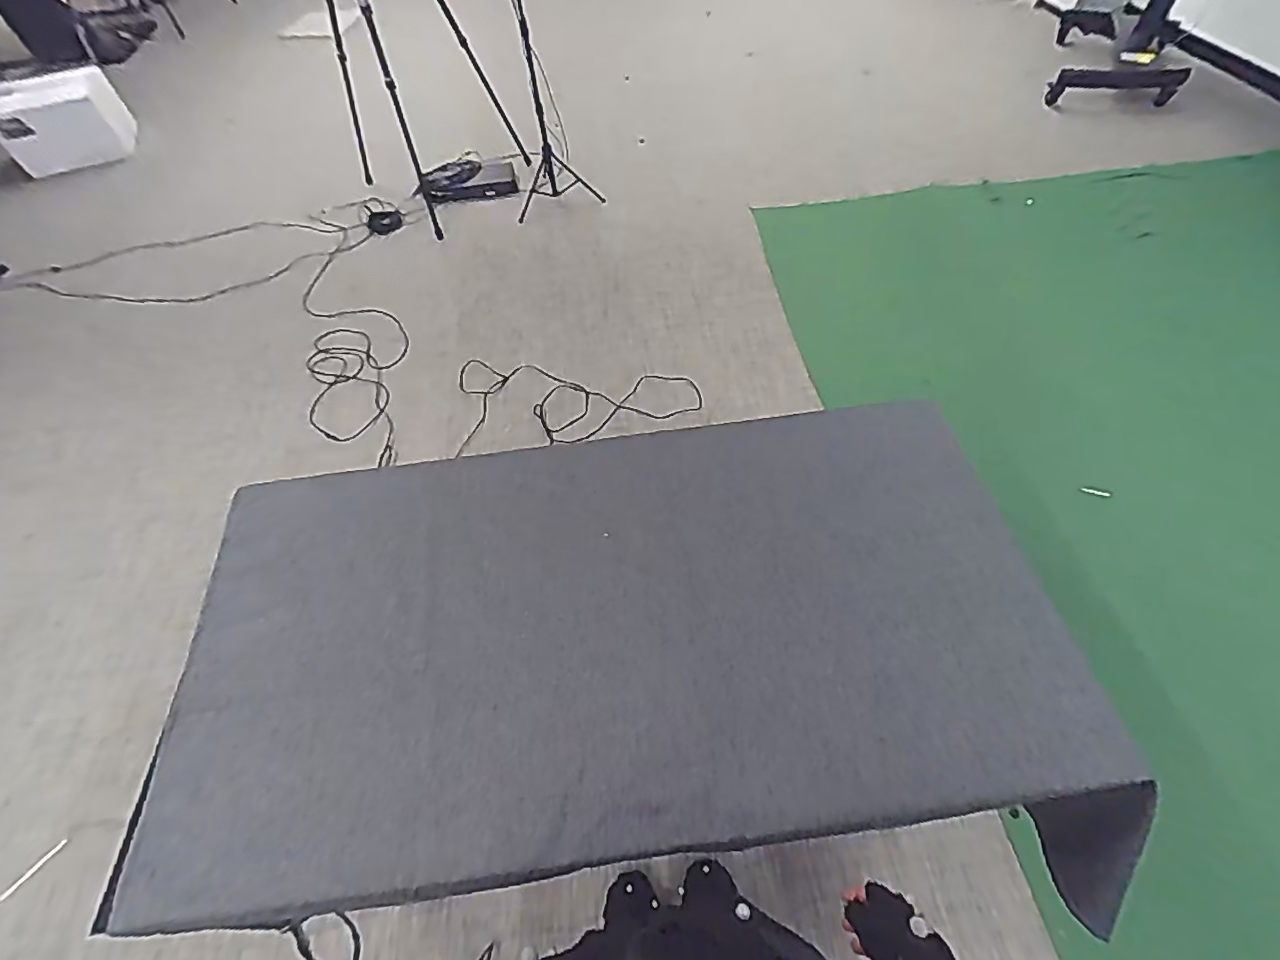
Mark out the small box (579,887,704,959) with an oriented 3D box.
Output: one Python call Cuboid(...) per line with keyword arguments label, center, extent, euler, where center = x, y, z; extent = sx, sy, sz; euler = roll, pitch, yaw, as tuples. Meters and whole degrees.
Cuboid(label="small box", center=(-0.004, 0.937, 1.054), extent=(0.179, 0.176, 0.168), euler=(15, 68, 34))
